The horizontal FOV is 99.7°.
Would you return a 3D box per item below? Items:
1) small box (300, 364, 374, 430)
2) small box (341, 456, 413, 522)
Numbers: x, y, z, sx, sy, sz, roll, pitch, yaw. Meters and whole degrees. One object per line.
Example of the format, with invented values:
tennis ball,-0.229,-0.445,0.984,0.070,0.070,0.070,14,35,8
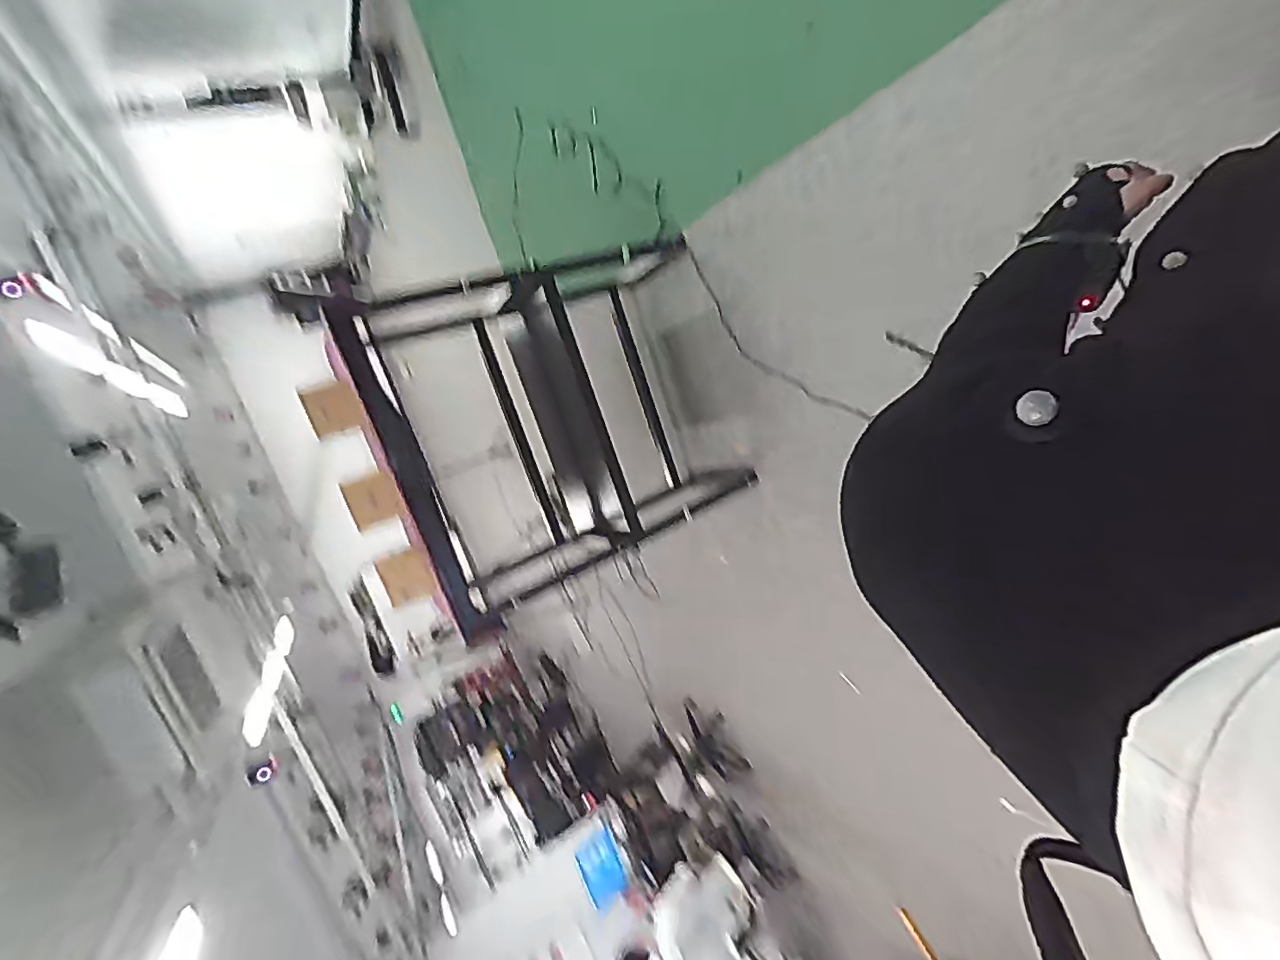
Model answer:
small box,-1.024,-0.280,1.836,0.168,0.176,0.179,7,117,60
small box,-0.916,0.024,1.882,0.168,0.176,0.179,10,121,60
